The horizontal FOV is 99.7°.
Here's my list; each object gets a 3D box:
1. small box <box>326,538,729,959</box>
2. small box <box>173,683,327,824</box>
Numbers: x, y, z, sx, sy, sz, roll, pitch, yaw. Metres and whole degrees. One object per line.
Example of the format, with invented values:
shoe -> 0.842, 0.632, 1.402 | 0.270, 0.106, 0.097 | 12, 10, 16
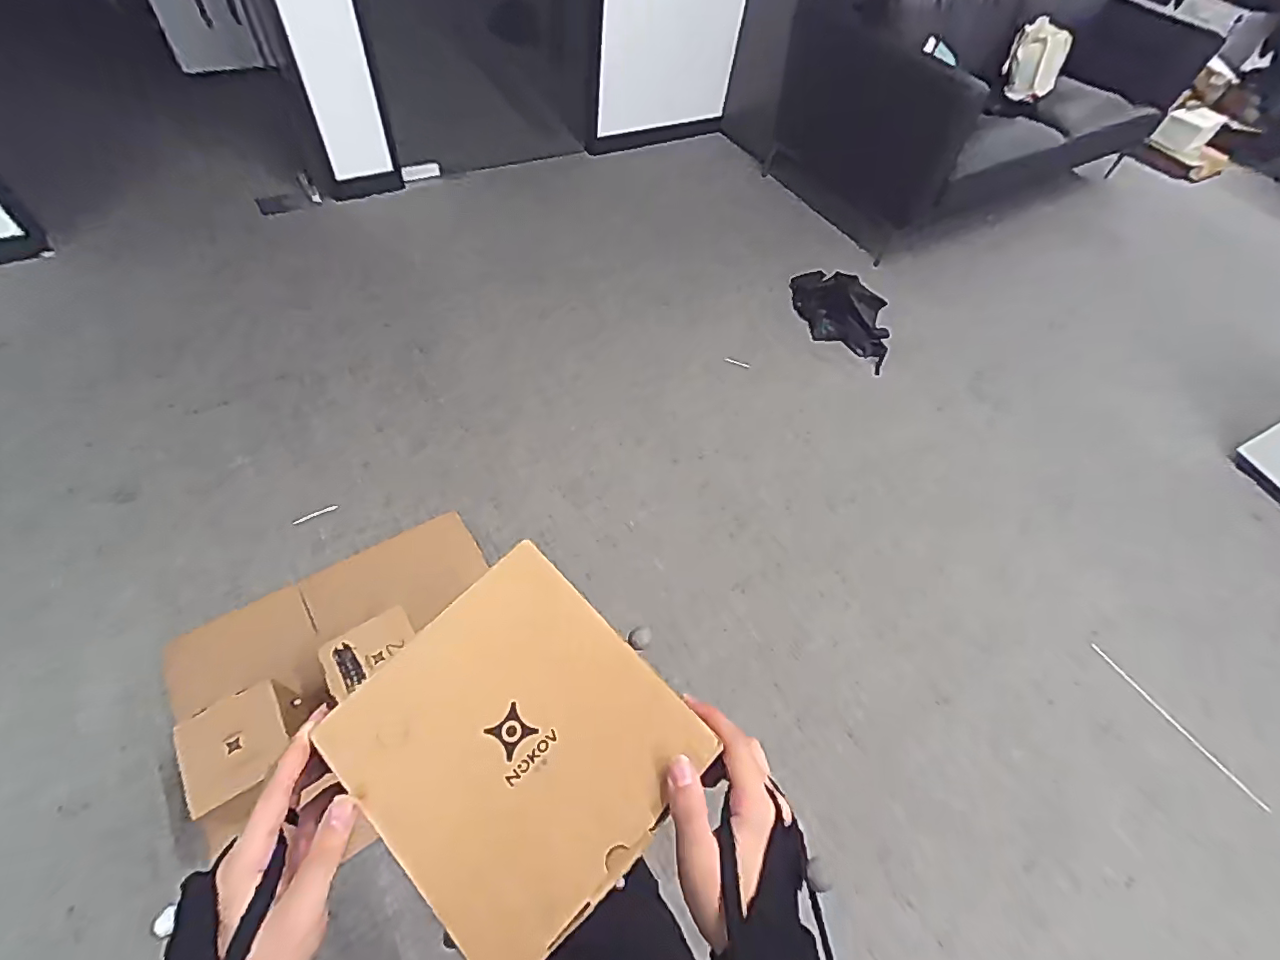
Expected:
small box -> -0.066, 0.176, 0.382 | 0.168, 0.176, 0.179 | -42, 74, -16
small box -> -0.732, 0.523, 1.028 | 0.168, 0.176, 0.179 | -27, 64, -23
